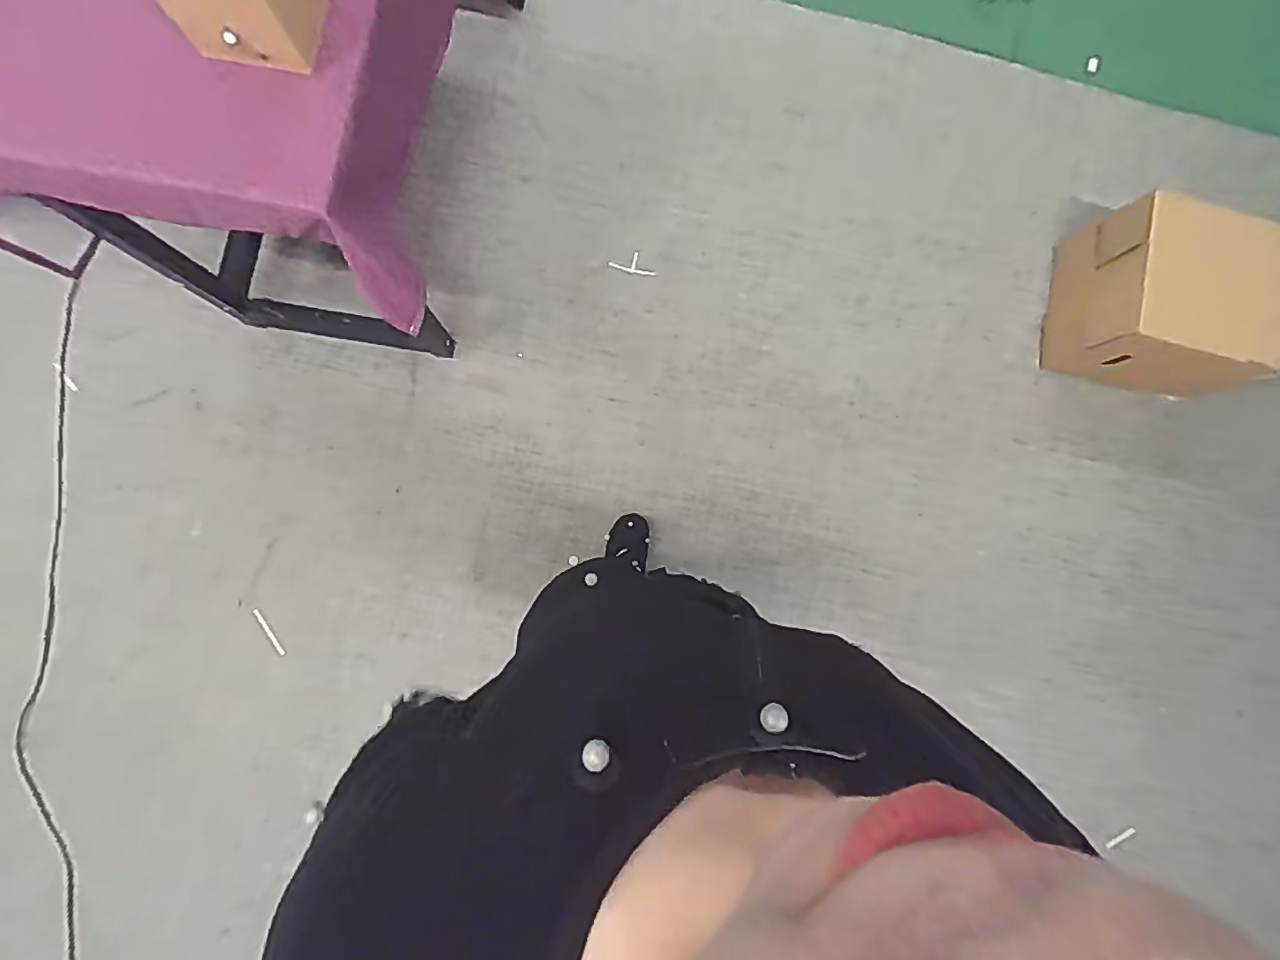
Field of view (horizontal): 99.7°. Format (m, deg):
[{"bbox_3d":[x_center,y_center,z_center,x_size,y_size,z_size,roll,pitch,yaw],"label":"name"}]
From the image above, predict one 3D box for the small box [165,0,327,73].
[{"bbox_3d":[-0.564,-0.723,0.749,0.168,0.176,0.179,9,83,-2],"label":"small box"}]
